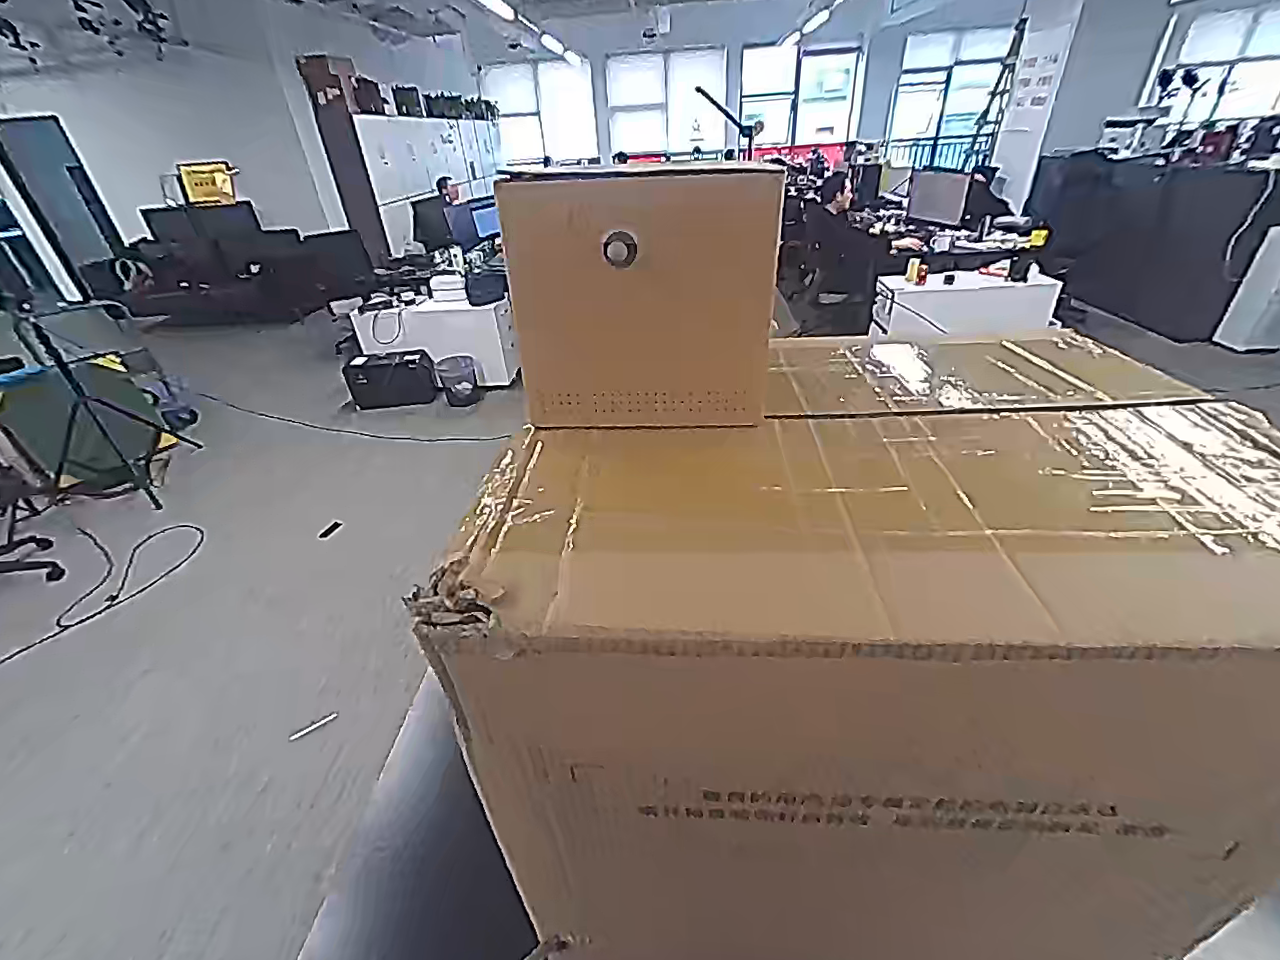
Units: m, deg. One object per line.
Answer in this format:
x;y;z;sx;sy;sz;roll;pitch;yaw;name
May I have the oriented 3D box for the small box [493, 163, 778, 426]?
0.005;-0.150;0.429;0.179;0.176;0.168;0;31;4;small box
